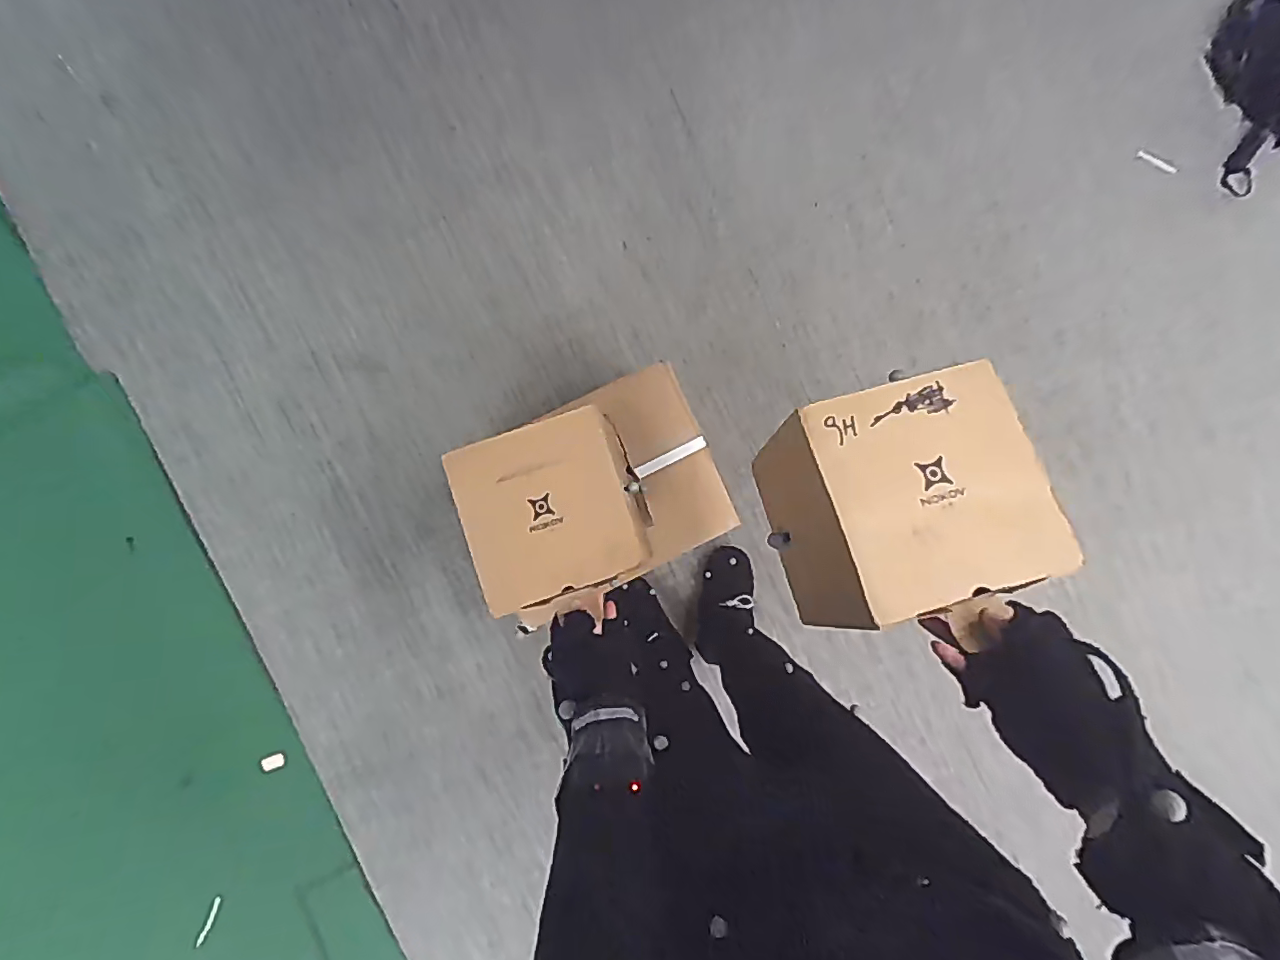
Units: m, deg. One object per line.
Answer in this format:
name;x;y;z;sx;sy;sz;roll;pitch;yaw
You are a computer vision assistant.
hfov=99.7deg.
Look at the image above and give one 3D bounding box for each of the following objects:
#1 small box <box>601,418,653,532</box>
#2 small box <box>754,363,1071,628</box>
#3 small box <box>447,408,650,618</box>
small box;-0.094;0.011;0.802;0.179;0.176;0.168;-19;96;-3
small box;0.221;0.023;0.492;0.168;0.176;0.179;-15;78;-5
small box;-0.091;0.036;0.625;0.168;0.176;0.179;-20;86;1
